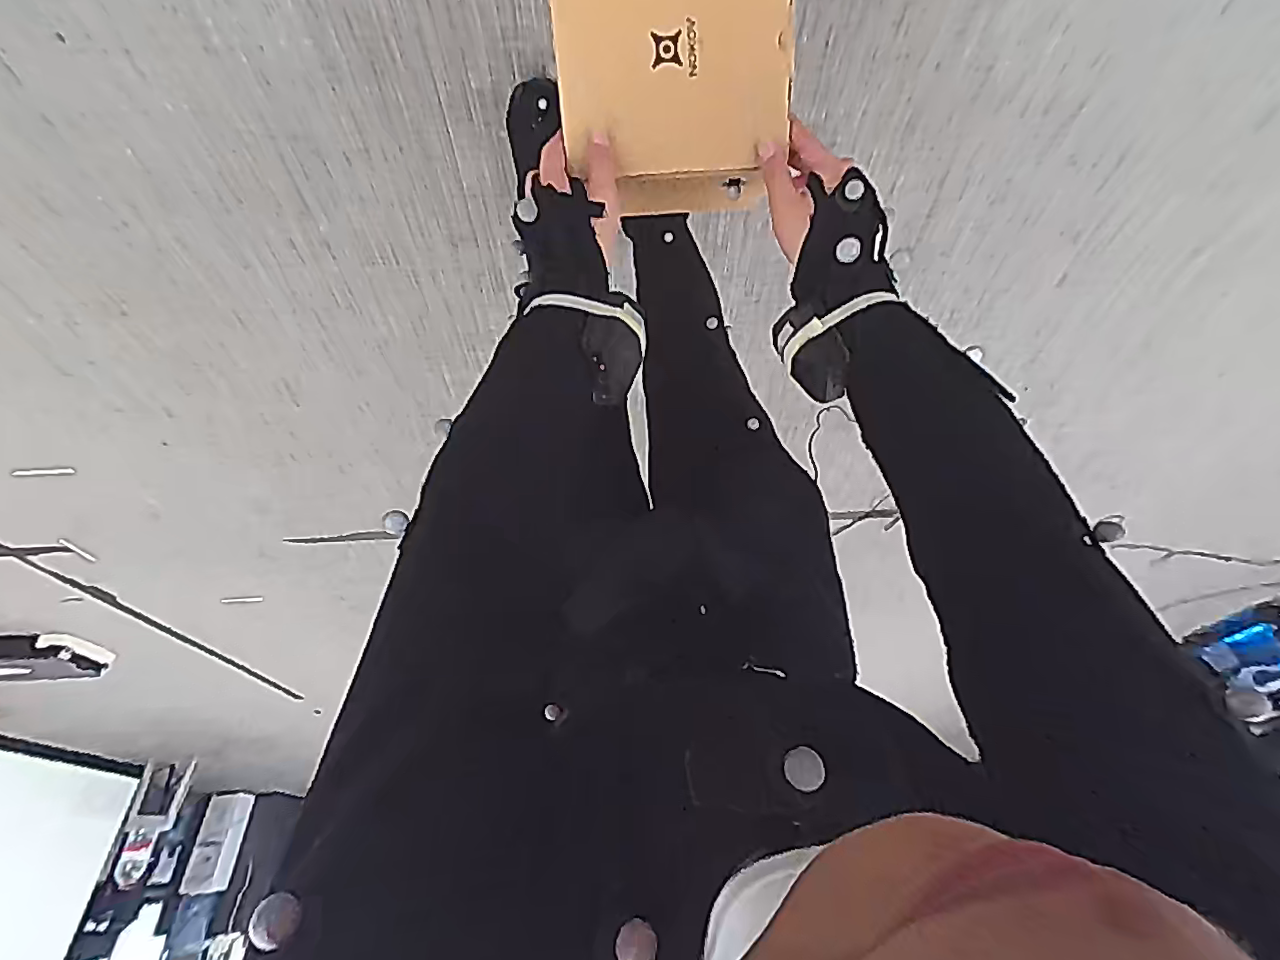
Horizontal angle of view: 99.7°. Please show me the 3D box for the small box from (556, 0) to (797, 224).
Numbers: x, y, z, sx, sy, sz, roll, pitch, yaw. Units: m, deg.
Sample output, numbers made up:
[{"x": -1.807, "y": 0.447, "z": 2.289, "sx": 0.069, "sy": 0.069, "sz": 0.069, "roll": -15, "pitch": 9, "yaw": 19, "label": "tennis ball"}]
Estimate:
[{"x": 0.030, "y": -0.331, "z": 0.474, "sx": 0.179, "sy": 0.176, "sz": 0.168, "roll": -4, "pitch": 107, "yaw": 2, "label": "small box"}]
